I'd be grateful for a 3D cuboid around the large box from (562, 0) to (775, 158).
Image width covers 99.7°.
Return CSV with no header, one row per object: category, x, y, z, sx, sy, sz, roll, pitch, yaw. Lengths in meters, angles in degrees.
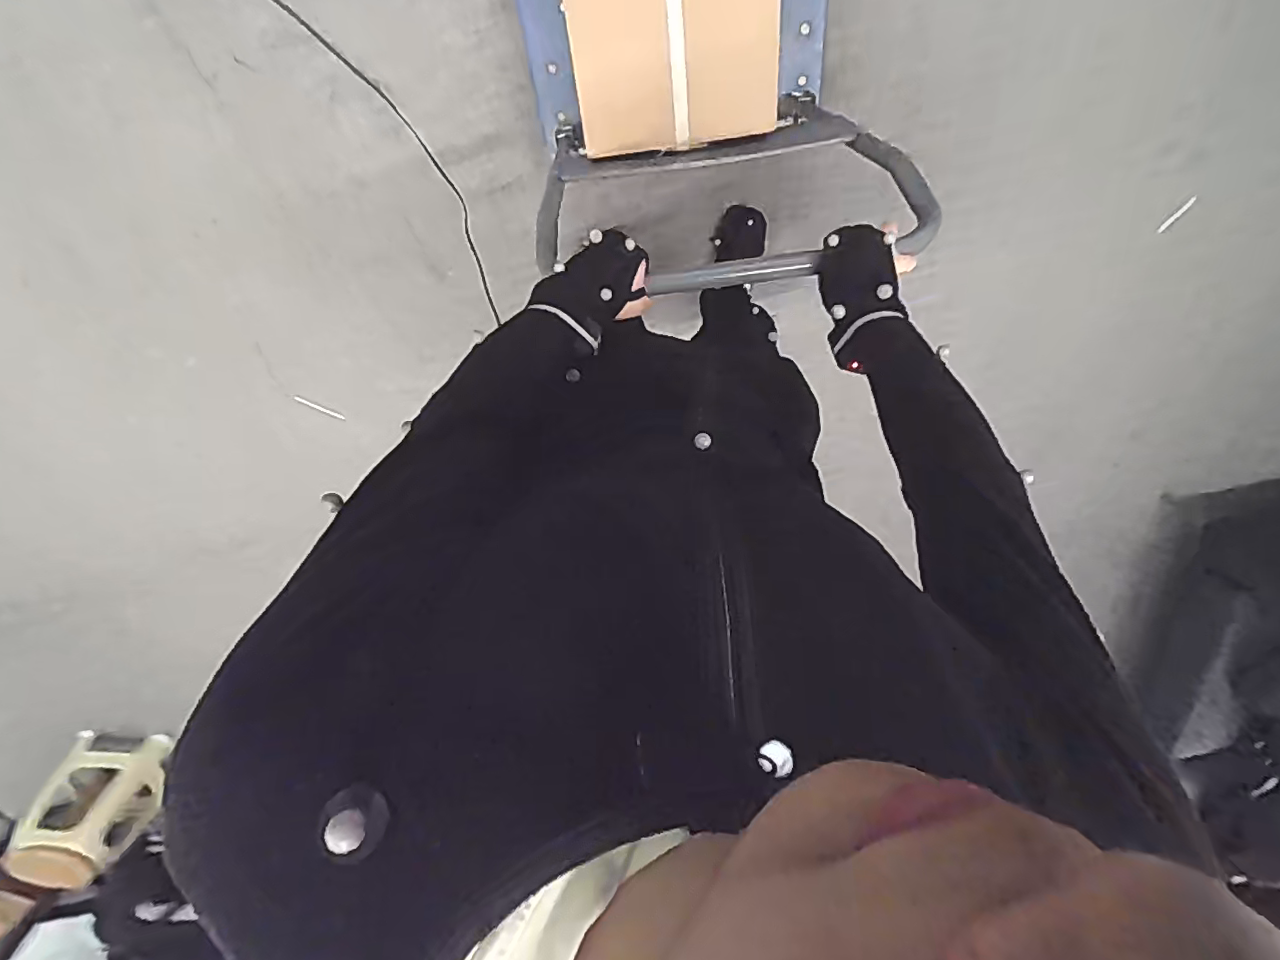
large box,0.038,-0.804,0.899,0.320,0.320,0.408,-7,127,3
